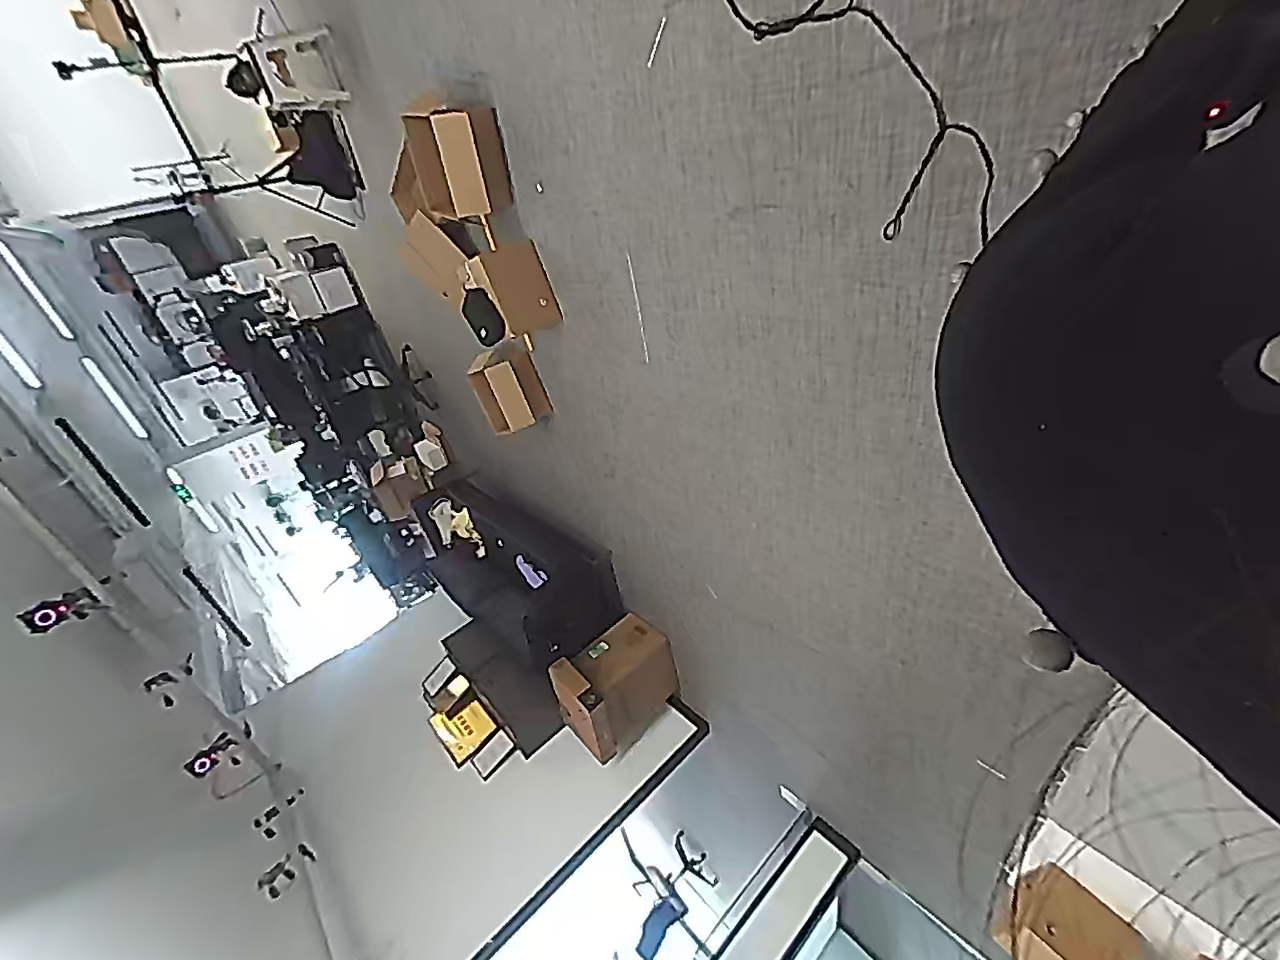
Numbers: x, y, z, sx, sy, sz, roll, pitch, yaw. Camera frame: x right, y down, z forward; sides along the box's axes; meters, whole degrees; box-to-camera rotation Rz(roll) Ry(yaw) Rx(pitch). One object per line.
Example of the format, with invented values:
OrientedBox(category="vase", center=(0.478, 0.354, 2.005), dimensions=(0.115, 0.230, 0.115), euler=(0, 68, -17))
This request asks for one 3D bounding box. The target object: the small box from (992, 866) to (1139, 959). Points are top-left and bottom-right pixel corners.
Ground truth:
OrientedBox(category="small box", center=(0.924, 0.995, 1.176), dimensions=(0.179, 0.176, 0.168), euler=(37, 144, 32))
